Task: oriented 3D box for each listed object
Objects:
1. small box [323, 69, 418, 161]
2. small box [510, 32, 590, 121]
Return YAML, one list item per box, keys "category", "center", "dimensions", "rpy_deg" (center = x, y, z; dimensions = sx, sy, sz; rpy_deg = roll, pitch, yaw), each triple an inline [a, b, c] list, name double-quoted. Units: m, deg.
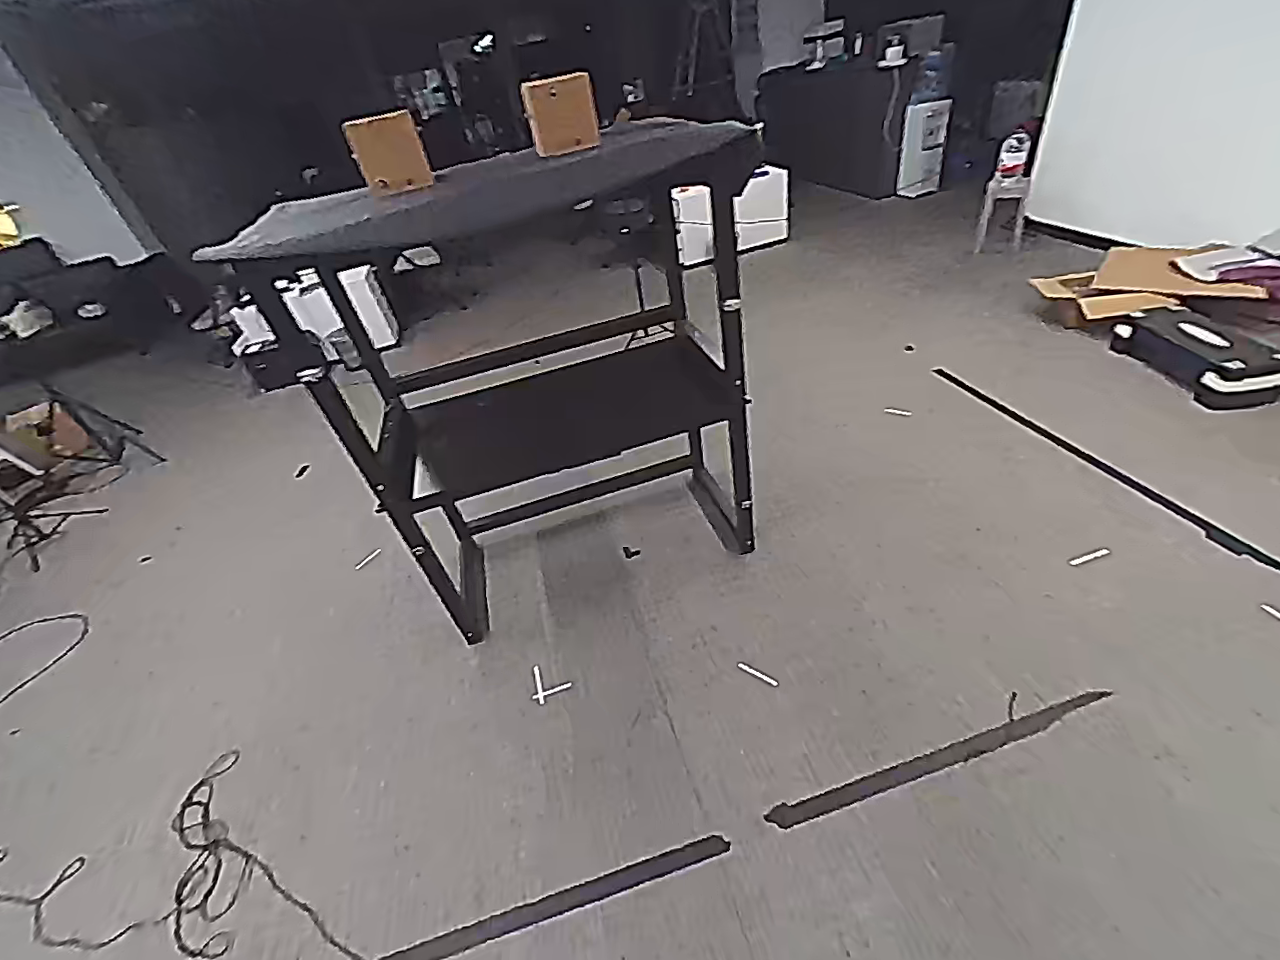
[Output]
- category: "small box"
  center: [-0.690, -0.944, 1.402]
  dimensions: [0.168, 0.176, 0.179]
  rpy_deg: [-19, 40, -10]
- category: "small box"
  center: [-0.244, -1.086, 1.463]
  dimensions: [0.168, 0.176, 0.179]
  rpy_deg: [-17, 39, -6]
